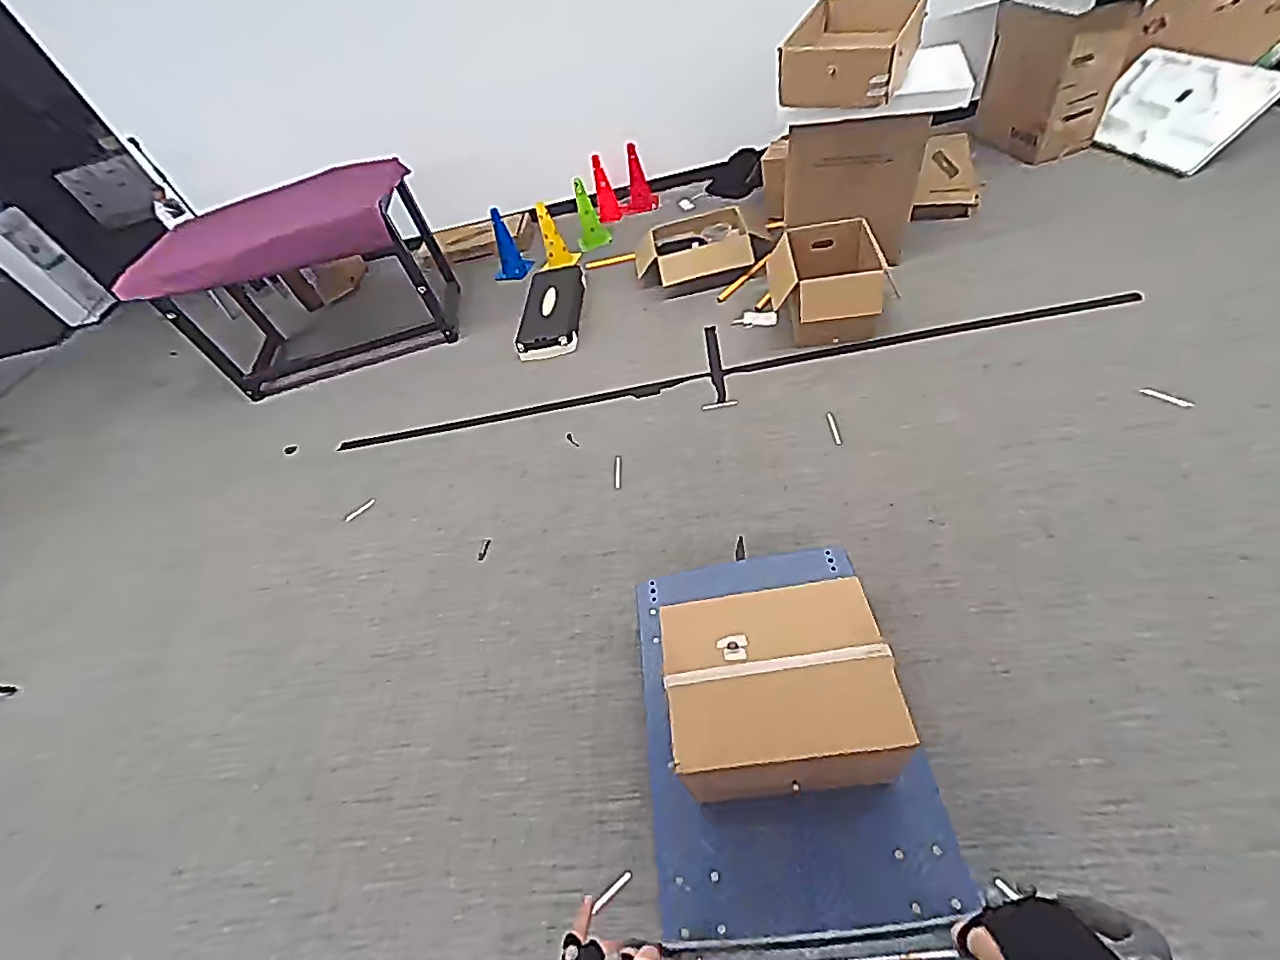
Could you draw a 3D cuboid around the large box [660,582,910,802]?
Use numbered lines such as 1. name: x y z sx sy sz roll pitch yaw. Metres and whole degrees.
1. large box: 0.280 0.452 1.125 0.408 0.320 0.320 -12 48 7
